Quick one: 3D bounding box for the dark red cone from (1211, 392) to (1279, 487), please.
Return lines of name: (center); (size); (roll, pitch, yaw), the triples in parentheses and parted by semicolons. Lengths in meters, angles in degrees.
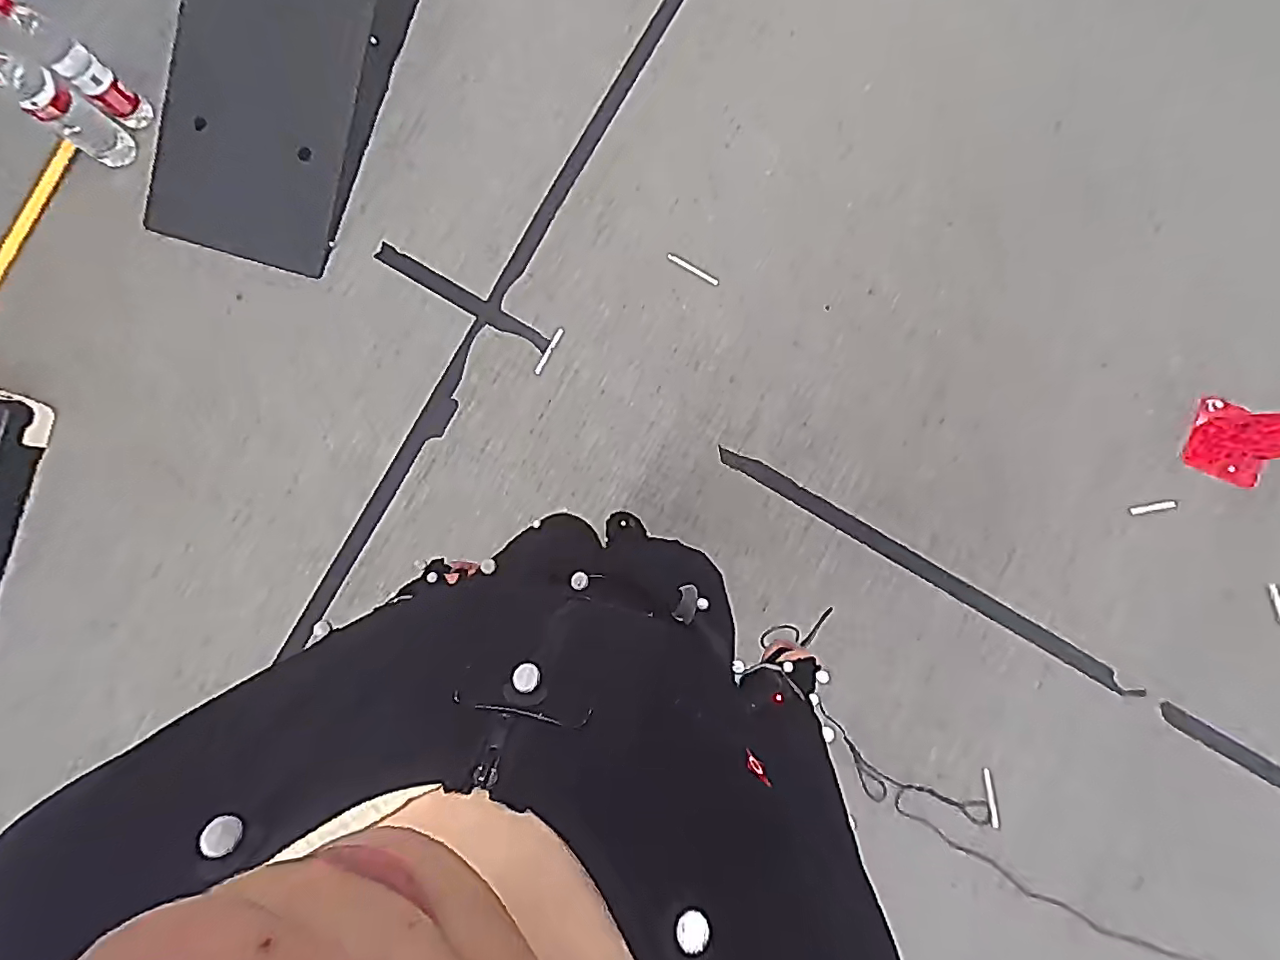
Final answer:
dark red cone: (1.555, -0.110, 1.199); (0.202, 0.394, 0.201); (22, 87, 1)
